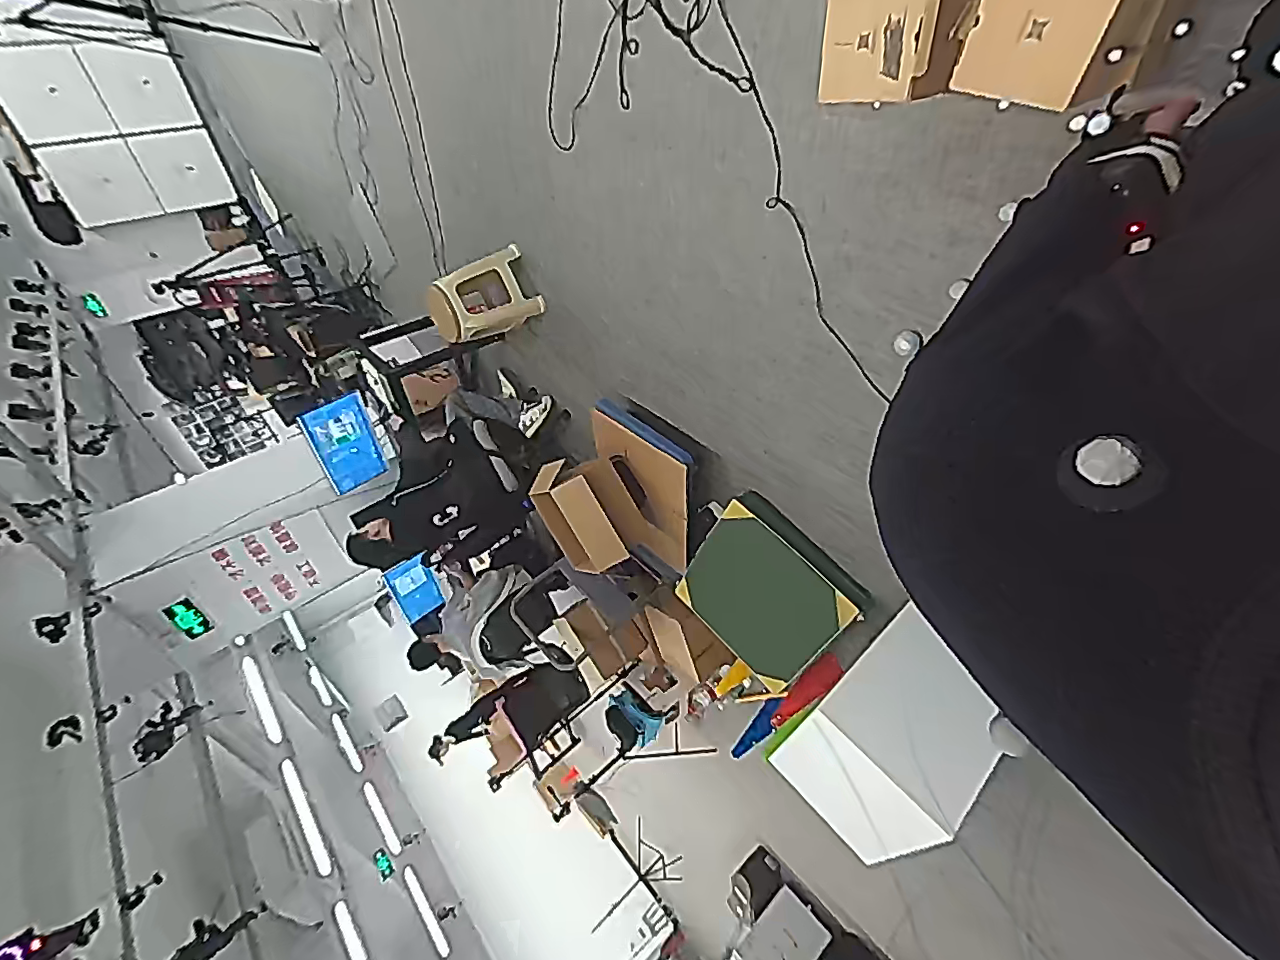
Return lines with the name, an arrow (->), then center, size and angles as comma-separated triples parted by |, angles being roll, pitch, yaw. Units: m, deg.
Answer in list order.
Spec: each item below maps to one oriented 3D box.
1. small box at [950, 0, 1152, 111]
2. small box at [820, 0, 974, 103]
small box -> 0.602, -0.658, 0.779 | 0.179, 0.176, 0.168 | 40, 147, 31
small box -> 0.440, -0.756, 0.926 | 0.179, 0.176, 0.168 | 33, 142, 39
